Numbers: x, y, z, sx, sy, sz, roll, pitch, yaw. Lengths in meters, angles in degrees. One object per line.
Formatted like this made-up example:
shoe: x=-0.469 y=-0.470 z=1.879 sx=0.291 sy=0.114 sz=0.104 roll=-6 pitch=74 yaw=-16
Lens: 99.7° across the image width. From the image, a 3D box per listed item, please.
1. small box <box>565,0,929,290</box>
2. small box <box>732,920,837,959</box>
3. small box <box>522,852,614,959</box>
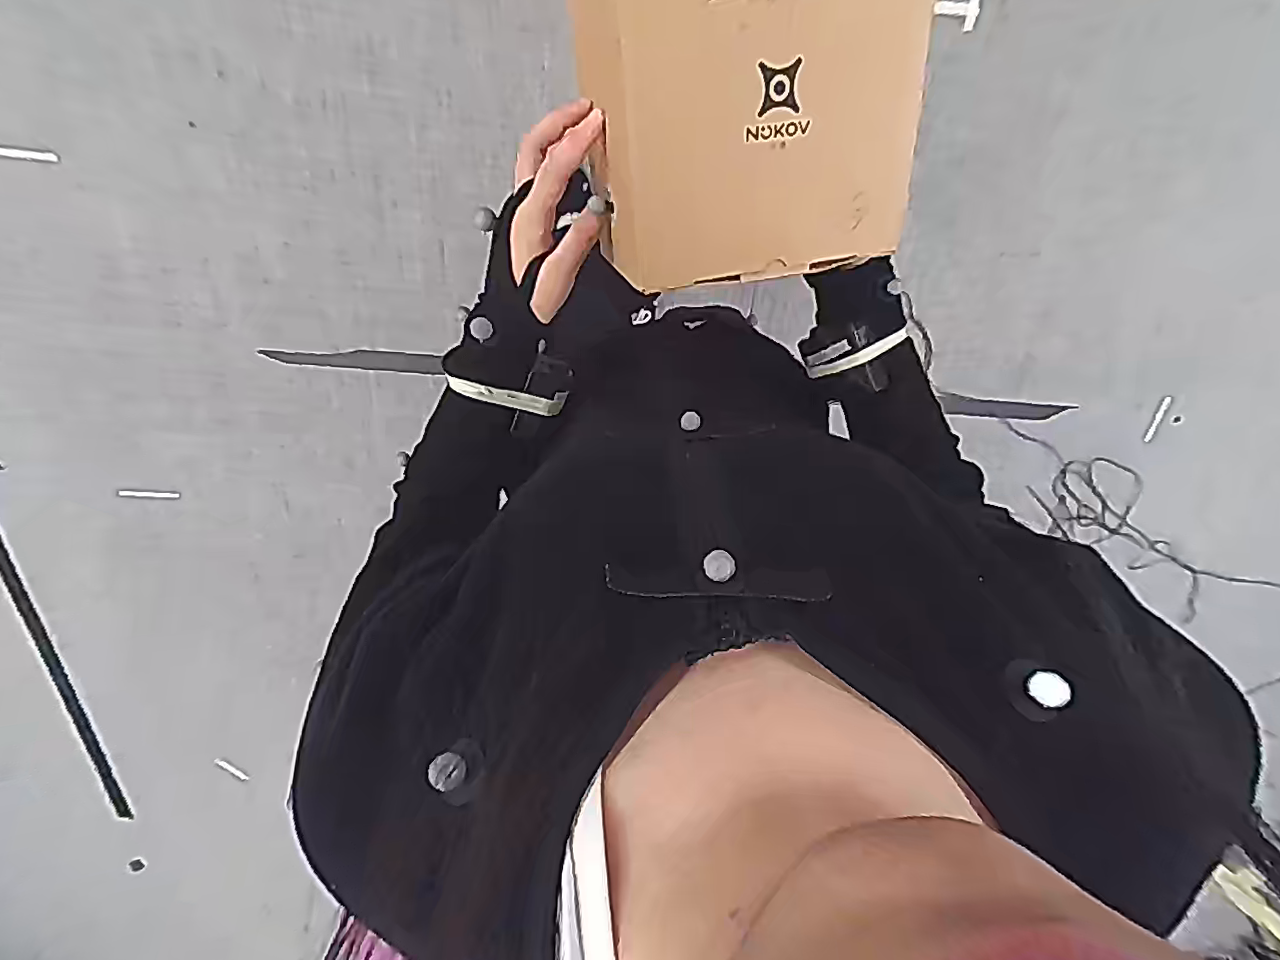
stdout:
small box: x=0.053 y=-0.239 z=0.350 sx=0.168 sy=0.176 sz=0.179 roll=-13 pitch=121 yaw=-8
small box: x=0.257 y=0.895 z=0.931 sx=0.168 sy=0.176 sz=0.179 roll=-2 pitch=115 yaw=-3
small box: x=-0.141 y=0.866 z=1.064 sx=0.168 sy=0.176 sz=0.179 roll=3 pitch=115 yaw=-5
